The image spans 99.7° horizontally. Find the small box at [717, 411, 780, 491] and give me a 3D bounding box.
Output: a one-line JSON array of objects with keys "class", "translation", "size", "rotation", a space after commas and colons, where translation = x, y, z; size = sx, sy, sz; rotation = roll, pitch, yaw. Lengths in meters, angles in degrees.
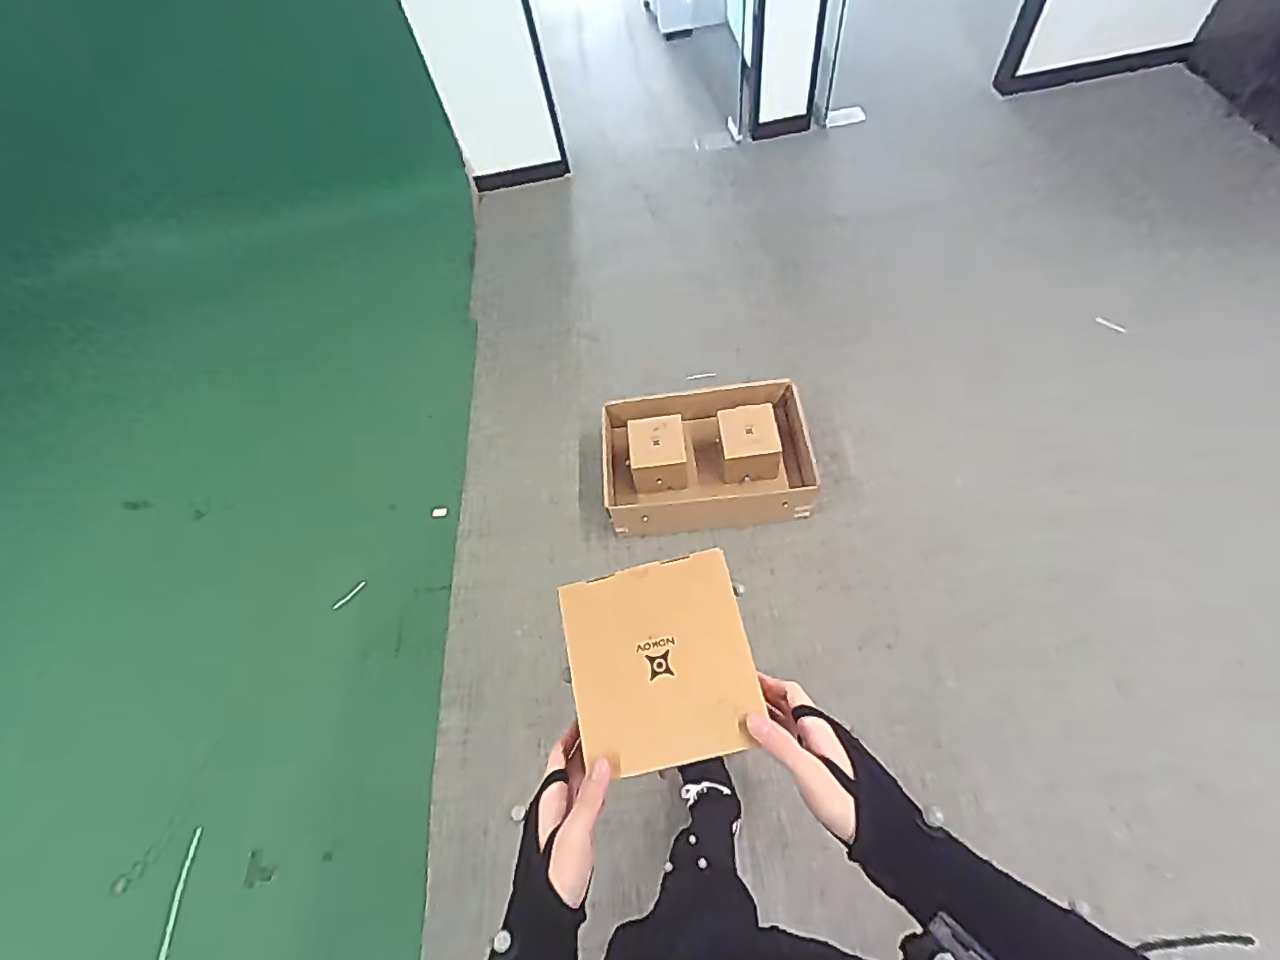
[{"class": "small box", "translation": [0.326, -0.088, 1.661], "size": [0.168, 0.176, 0.179], "rotation": [-7, 60, 5]}]

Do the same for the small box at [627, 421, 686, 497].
[{"class": "small box", "translation": [0.053, -0.058, 1.679], "size": [0.168, 0.176, 0.179], "rotation": [-6, 59, 3]}]

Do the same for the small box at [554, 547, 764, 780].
[{"class": "small box", "translation": [0.022, 0.189, 0.560], "size": [0.168, 0.176, 0.179], "rotation": [-14, 65, 2]}]
